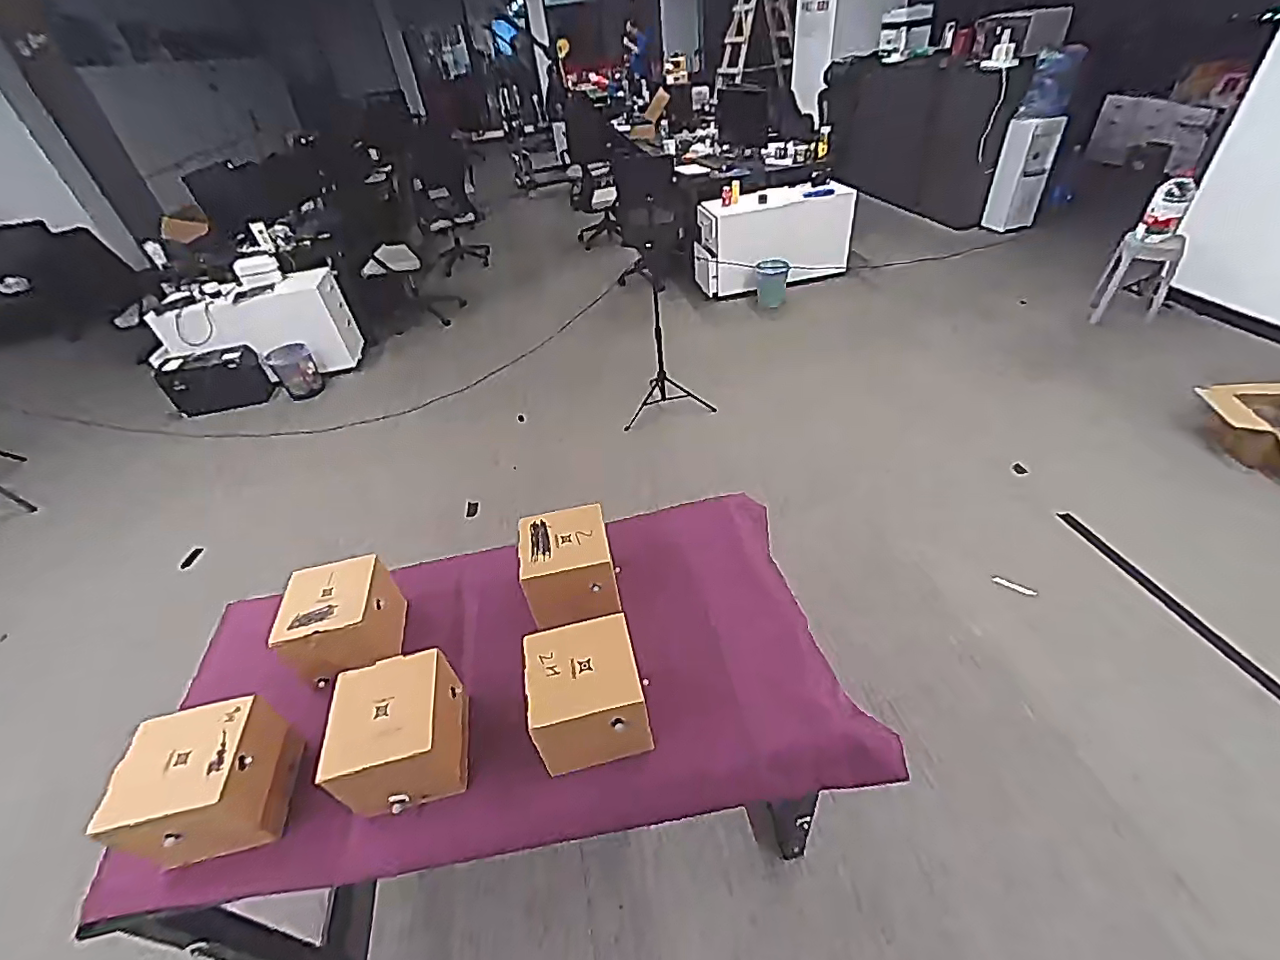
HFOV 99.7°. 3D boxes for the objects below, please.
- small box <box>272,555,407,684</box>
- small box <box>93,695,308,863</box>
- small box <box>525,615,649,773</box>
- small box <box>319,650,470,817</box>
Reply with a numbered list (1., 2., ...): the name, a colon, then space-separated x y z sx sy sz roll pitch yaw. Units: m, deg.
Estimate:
1. small box: -0.582 0.284 1.077 0.168 0.176 0.179 -12 40 -6
2. small box: -0.677 0.478 0.861 0.179 0.176 0.168 -12 41 -5
3. small box: -0.086 0.358 0.905 0.179 0.176 0.168 -13 40 -5
4. small box: -0.389 0.416 0.891 0.168 0.176 0.179 -13 42 -5
